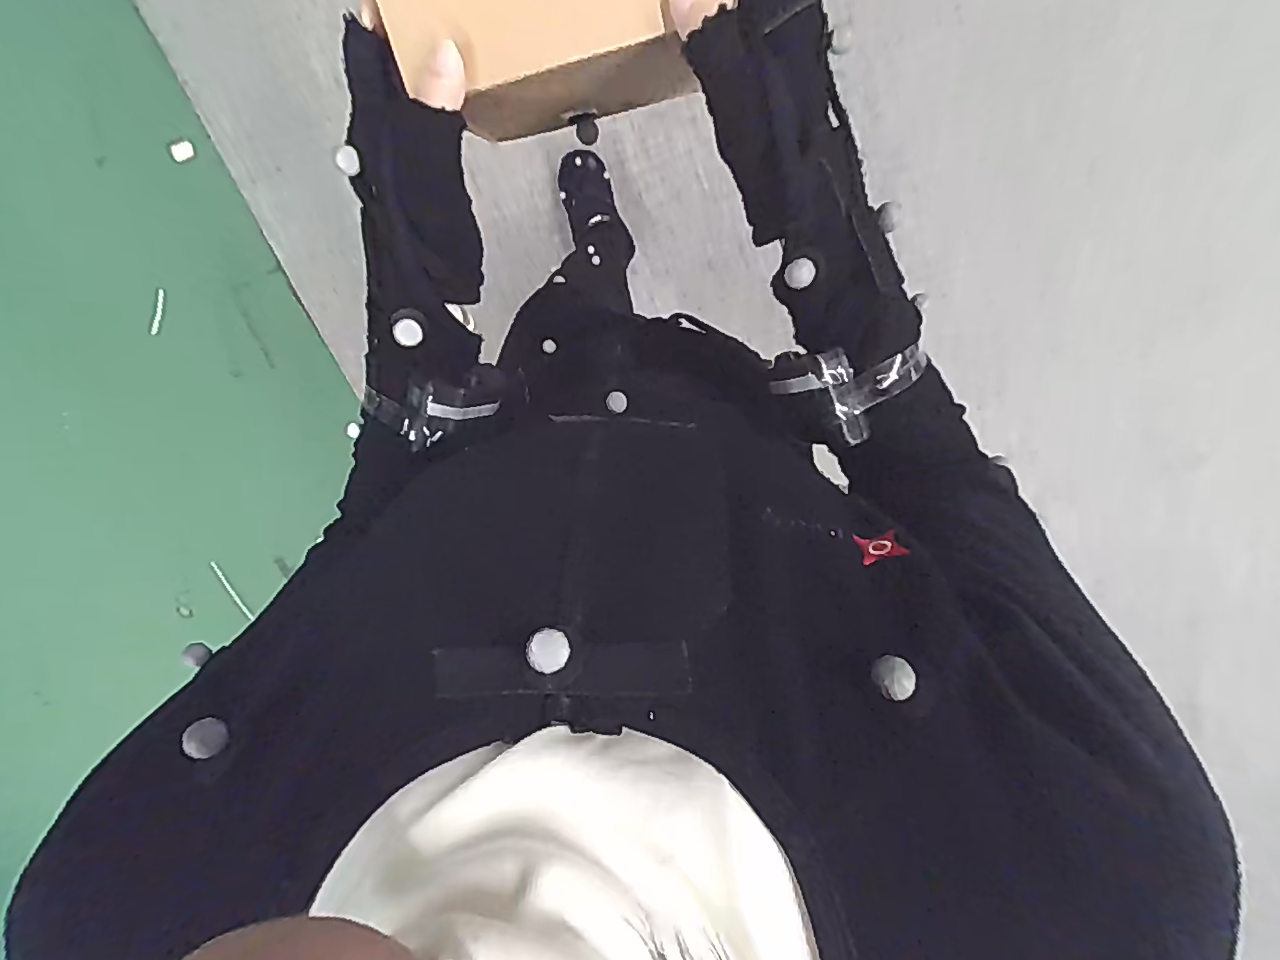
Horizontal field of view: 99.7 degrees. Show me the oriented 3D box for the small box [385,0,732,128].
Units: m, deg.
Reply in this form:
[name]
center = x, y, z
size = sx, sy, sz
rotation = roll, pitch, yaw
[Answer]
[small box]
center = -0.050, -0.324, 0.298
size = 0.168, 0.176, 0.179
rotation = -10, 115, 8
